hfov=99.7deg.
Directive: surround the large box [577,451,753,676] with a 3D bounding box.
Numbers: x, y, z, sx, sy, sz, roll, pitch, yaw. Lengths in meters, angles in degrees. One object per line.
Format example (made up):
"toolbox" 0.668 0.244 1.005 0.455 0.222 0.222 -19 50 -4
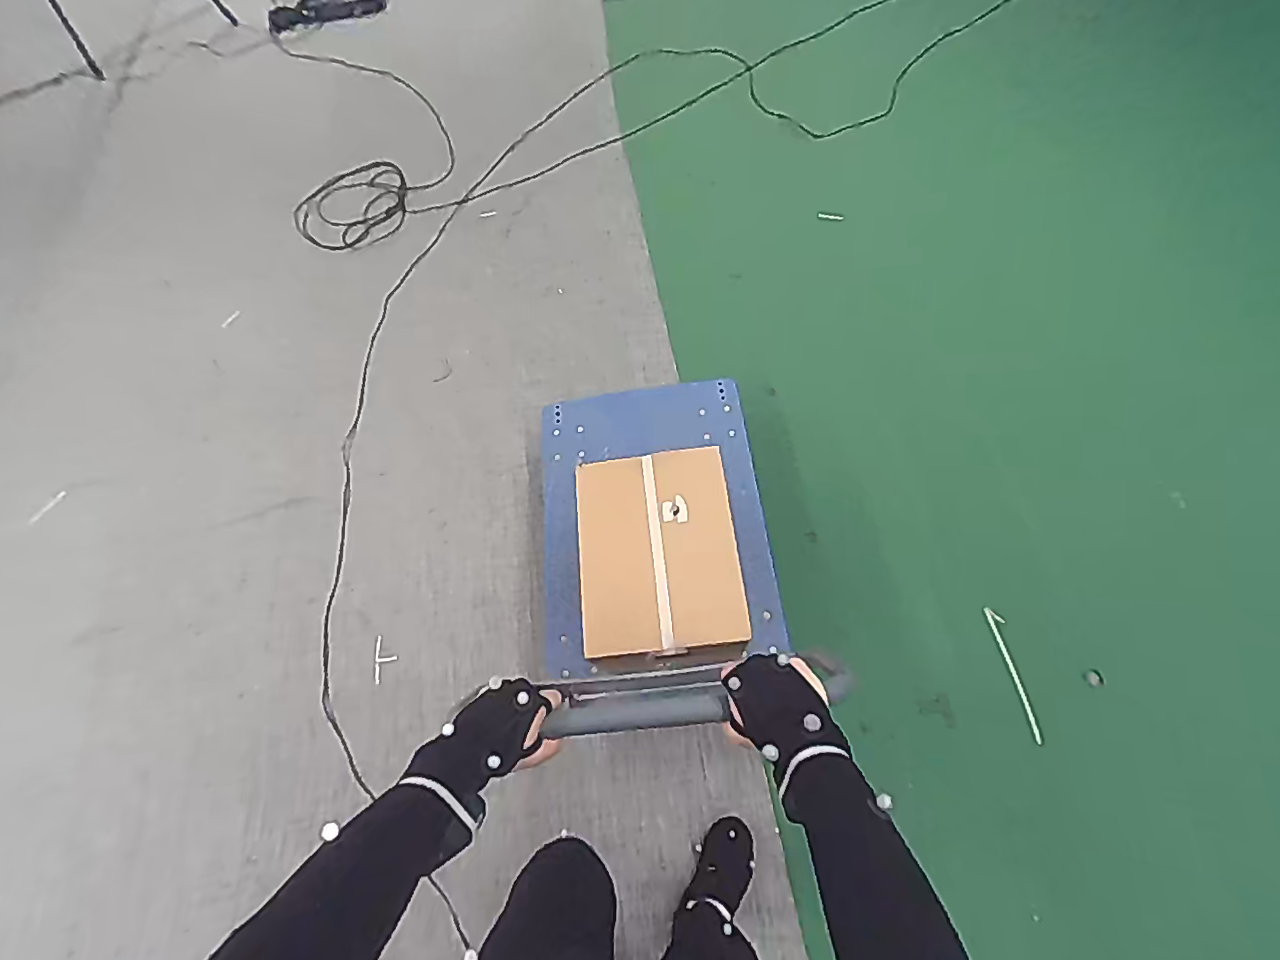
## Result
"large box" 0.053 0.199 1.211 0.320 0.320 0.408 -7 64 3
